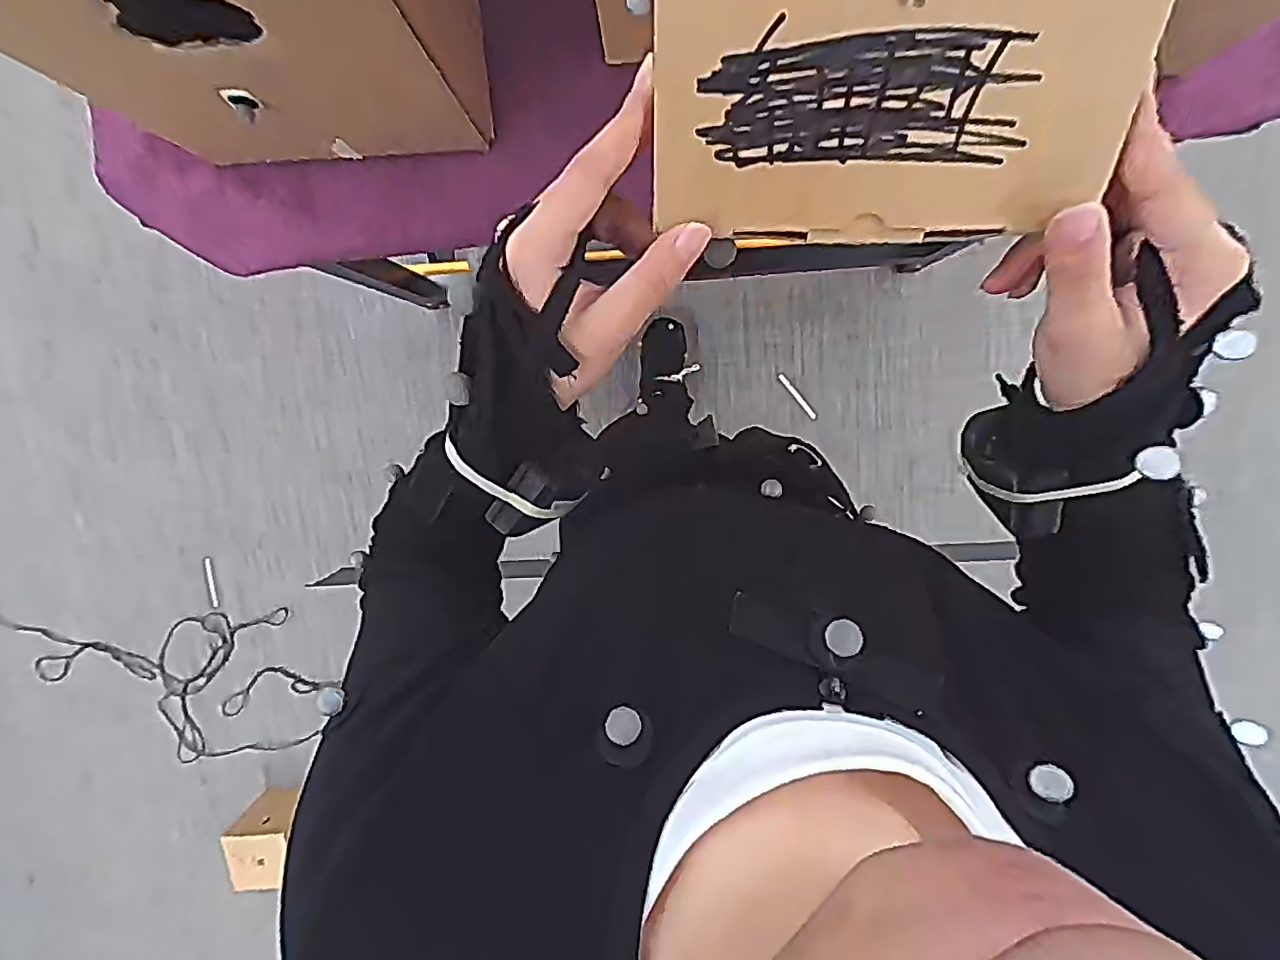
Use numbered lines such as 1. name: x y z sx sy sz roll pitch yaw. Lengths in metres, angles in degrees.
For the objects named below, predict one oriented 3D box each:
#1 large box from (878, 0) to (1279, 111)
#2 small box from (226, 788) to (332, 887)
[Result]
1. large box: 0.375 -0.569 0.382 0.320 0.320 0.408 -4 98 3
2. small box: -0.989 0.986 1.502 0.179 0.176 0.168 -5 99 4
